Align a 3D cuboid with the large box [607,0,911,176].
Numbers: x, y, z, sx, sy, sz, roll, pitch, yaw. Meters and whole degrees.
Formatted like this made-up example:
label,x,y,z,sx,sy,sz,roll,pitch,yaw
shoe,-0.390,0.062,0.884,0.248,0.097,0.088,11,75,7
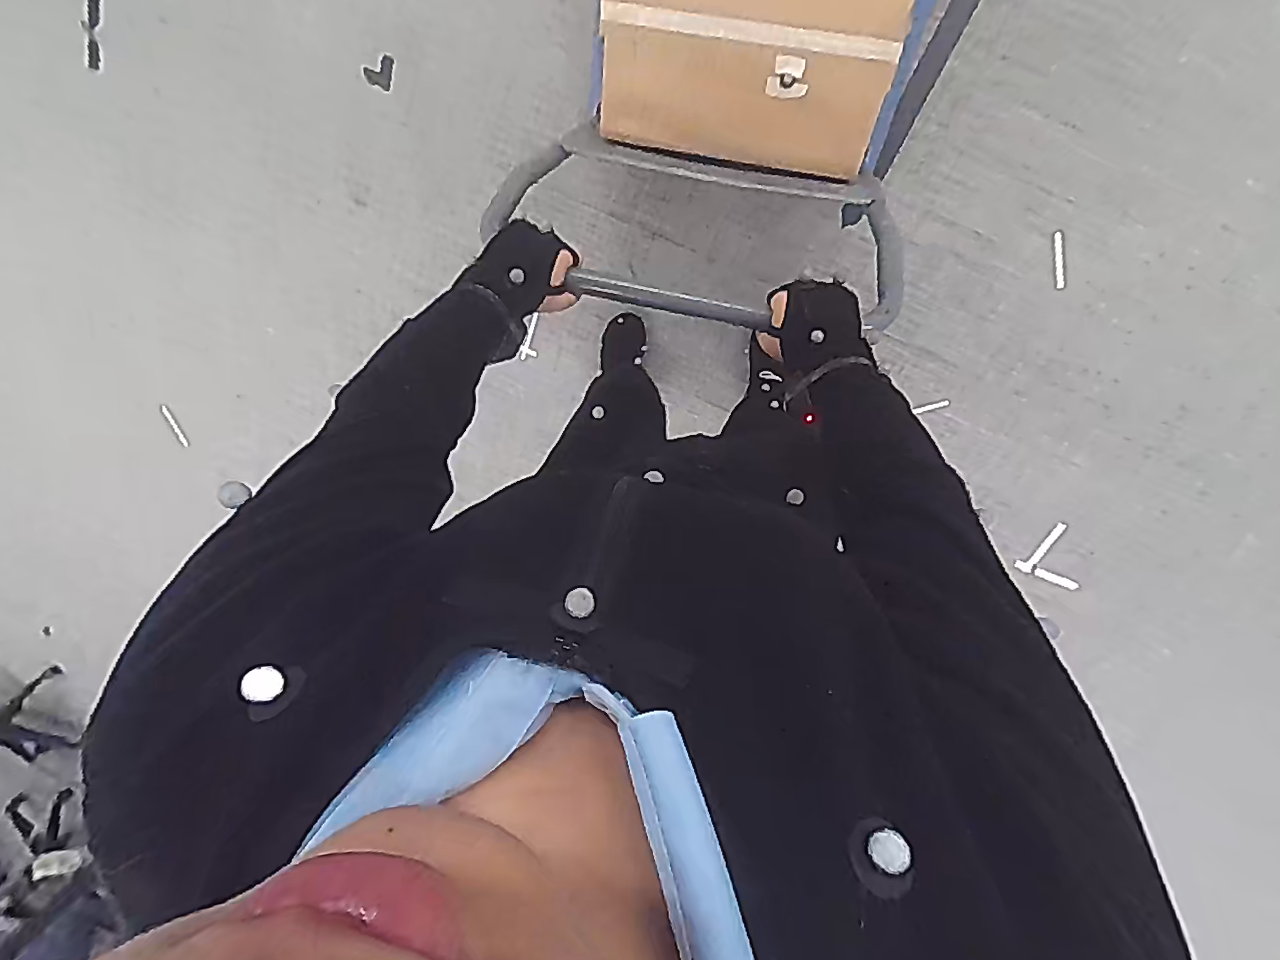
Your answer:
label,x,y,z,sx,sy,sz,roll,pitch,yaw
large box,0.180,-0.712,0.868,0.408,0.320,0.320,12,131,4
